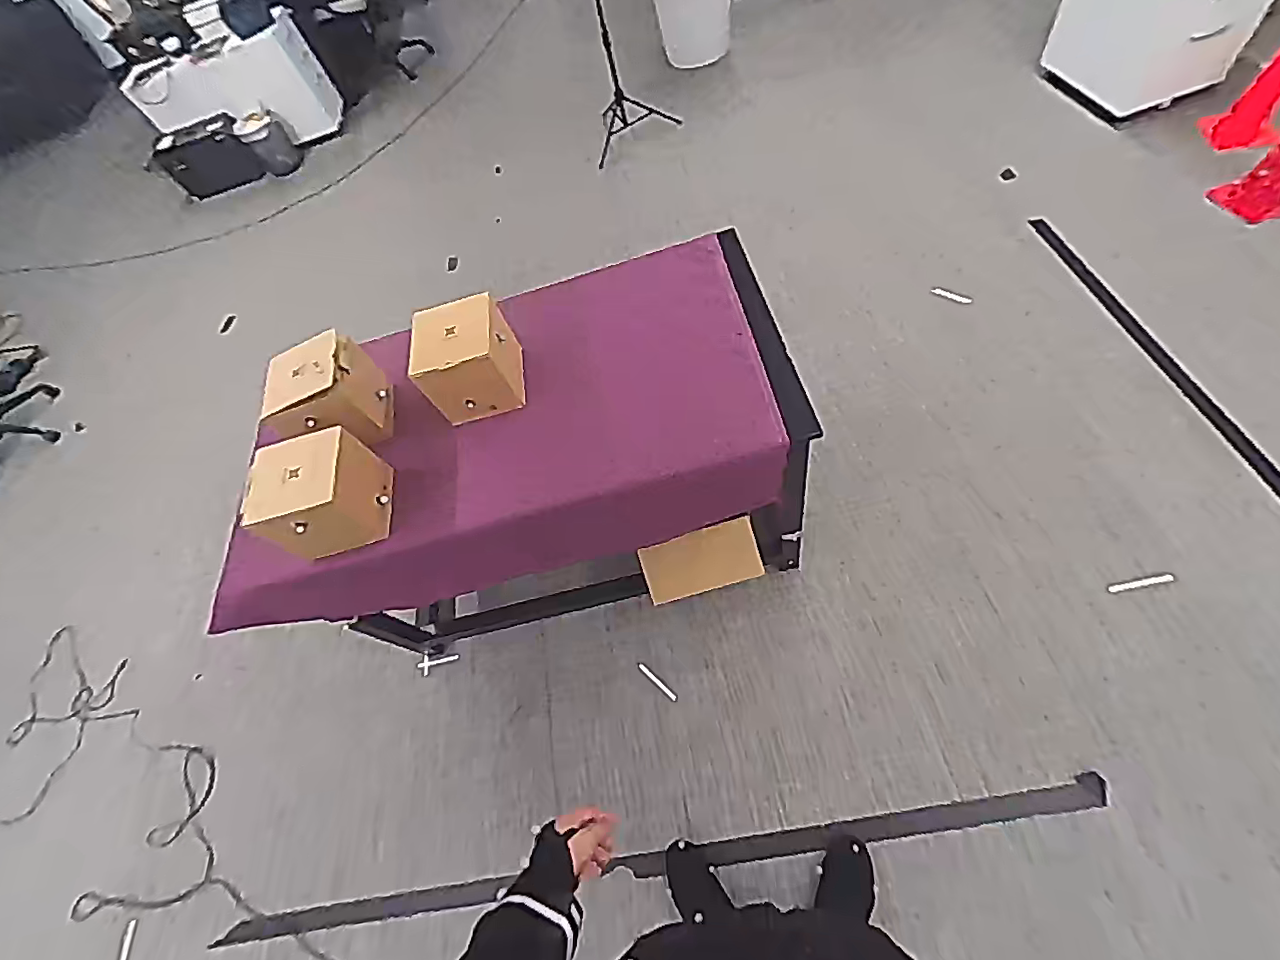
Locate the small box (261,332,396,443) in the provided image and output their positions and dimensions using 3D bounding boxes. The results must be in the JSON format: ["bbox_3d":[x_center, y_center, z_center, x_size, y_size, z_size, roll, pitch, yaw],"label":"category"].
[{"bbox_3d":[-0.650,-0.177,1.148,0.179,0.176,0.168,-16,60,4],"label":"small box"}]

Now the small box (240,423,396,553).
[{"bbox_3d":[-0.596,0.024,1.024,0.179,0.176,0.168,-14,59,5],"label":"small box"}]
